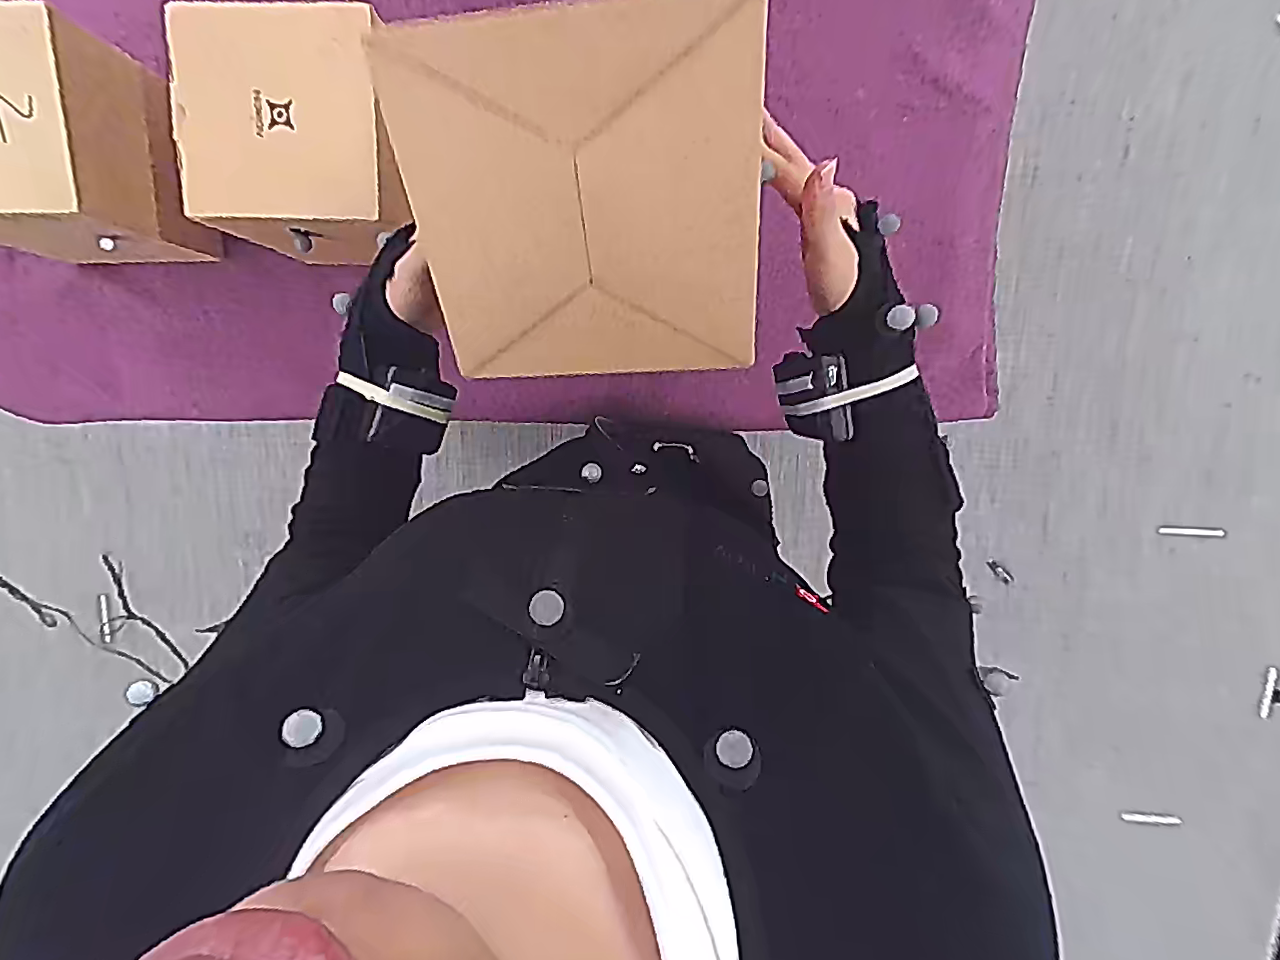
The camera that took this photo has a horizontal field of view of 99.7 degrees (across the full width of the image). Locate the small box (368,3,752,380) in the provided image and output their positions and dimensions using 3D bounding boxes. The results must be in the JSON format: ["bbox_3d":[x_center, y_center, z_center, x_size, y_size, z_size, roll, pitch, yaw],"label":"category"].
[{"bbox_3d":[-0.022,-0.174,0.334,0.179,0.176,0.168,-1,129,8],"label":"small box"}]

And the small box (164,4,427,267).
[{"bbox_3d":[-0.299,-0.313,0.527,0.179,0.176,0.168,2,99,3],"label":"small box"}]
